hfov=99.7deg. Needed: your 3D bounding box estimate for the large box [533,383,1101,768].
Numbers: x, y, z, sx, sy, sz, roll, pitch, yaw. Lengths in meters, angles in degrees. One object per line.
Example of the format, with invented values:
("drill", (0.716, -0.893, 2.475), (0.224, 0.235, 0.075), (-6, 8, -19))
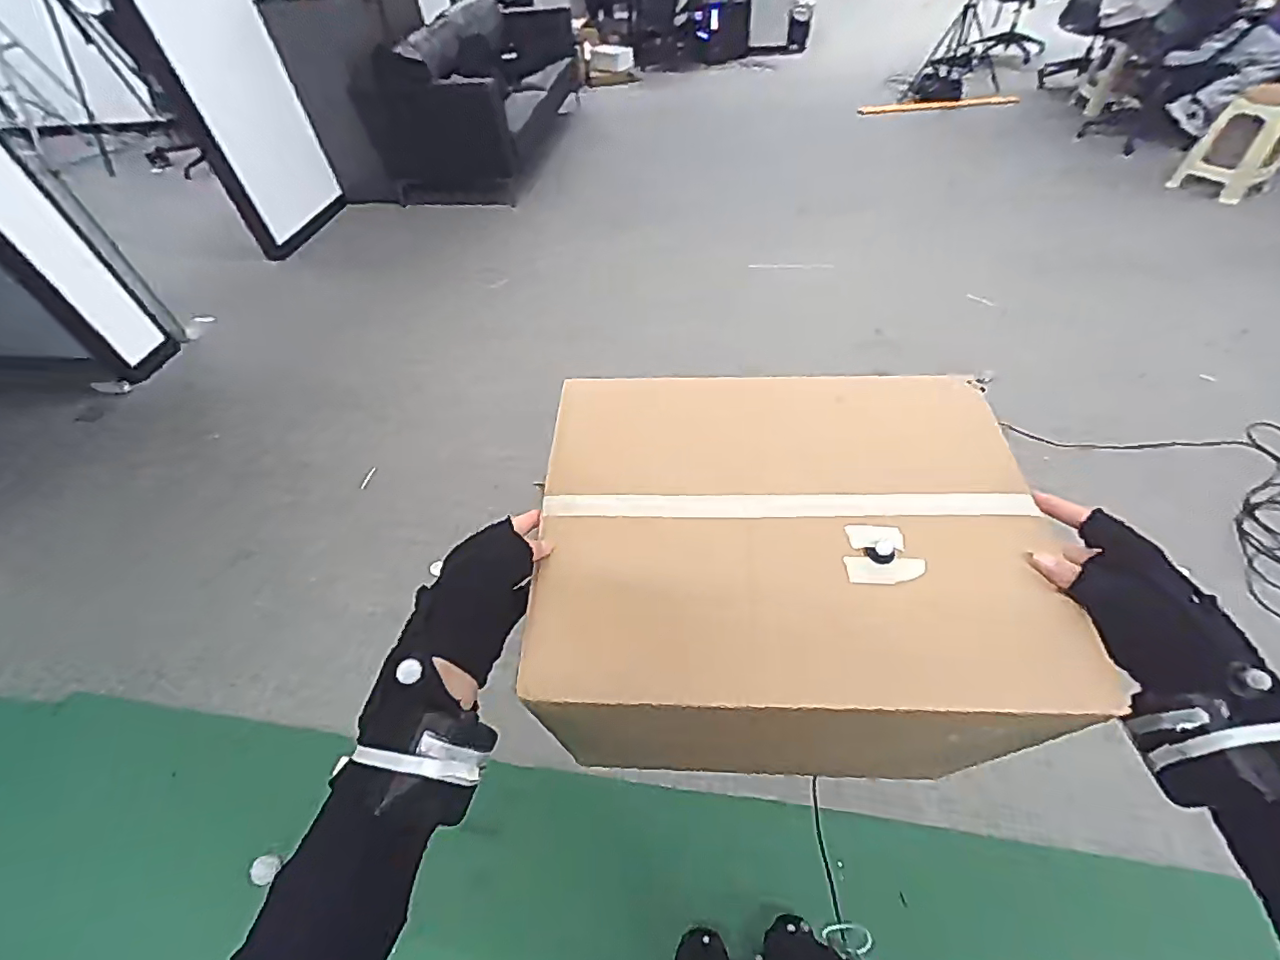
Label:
("large box", (0.128, 0.116, 0.584), (0.408, 0.320, 0.320), (0, 55, 4))
